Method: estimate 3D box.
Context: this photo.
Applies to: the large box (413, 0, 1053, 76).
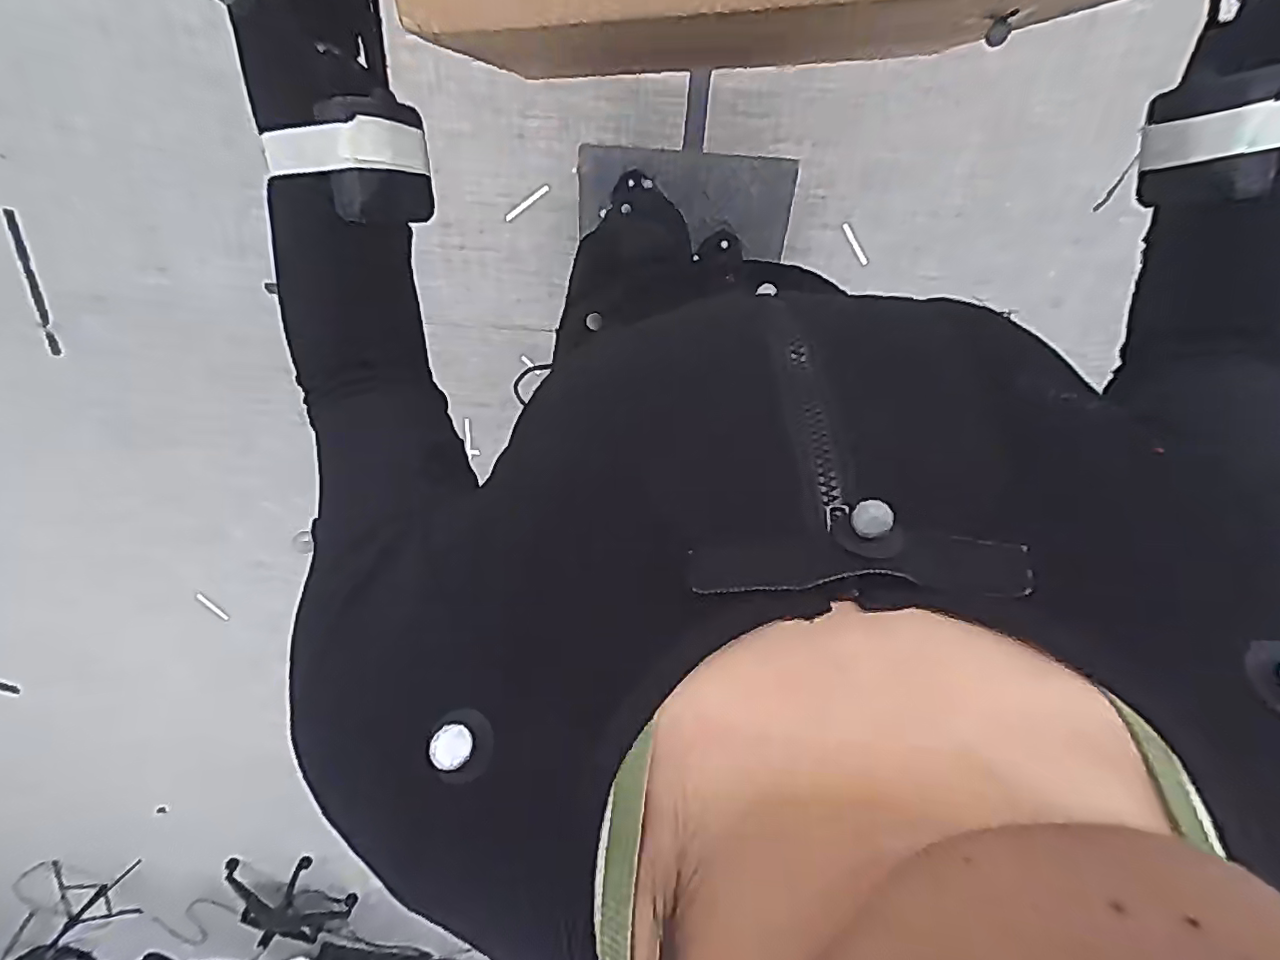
[{"bbox_3d":[0.073,-0.458,0.326,0.408,0.320,0.320,-2,122,3],"label":"large box"}]
